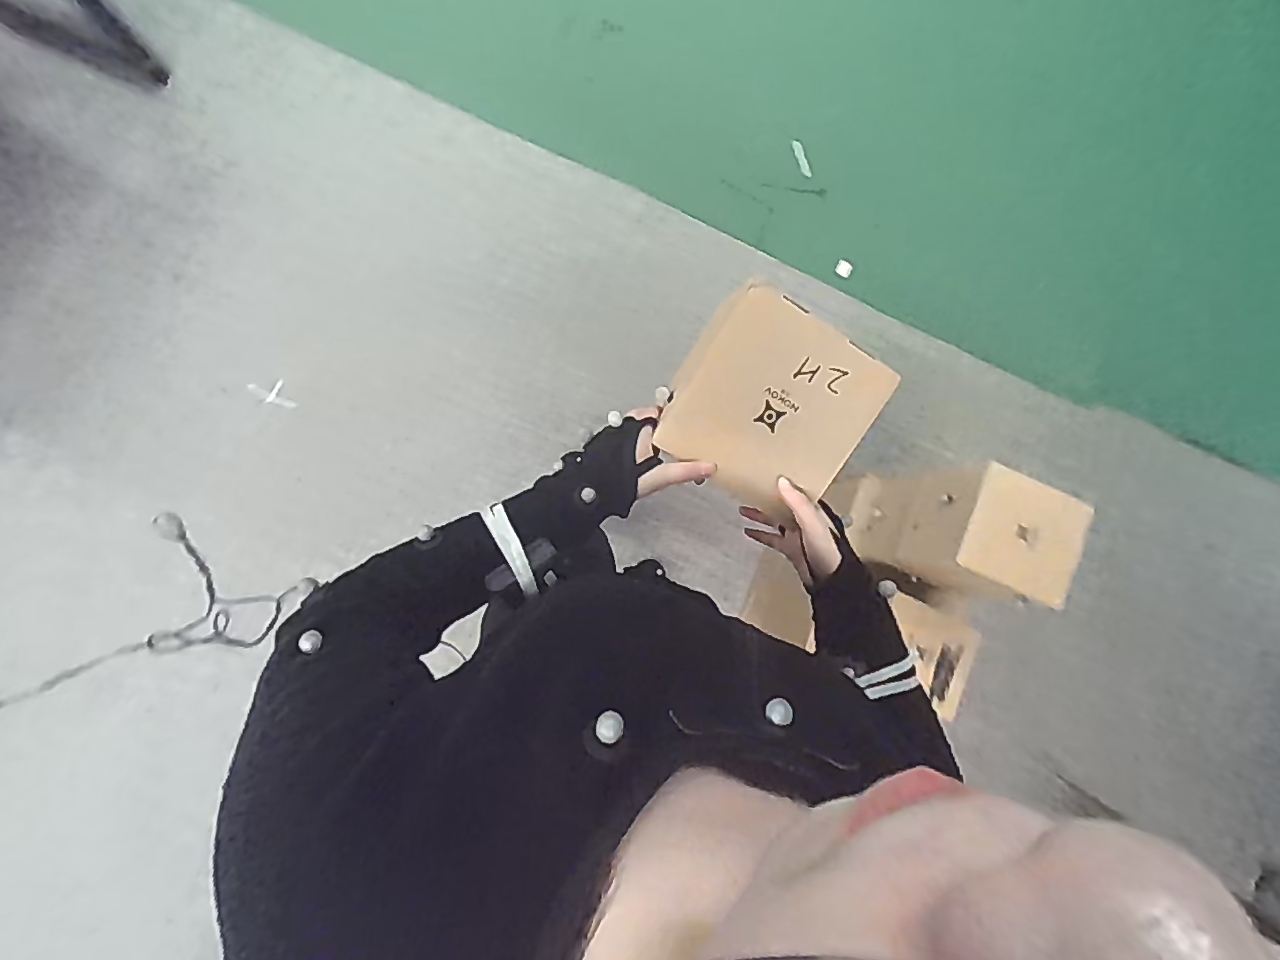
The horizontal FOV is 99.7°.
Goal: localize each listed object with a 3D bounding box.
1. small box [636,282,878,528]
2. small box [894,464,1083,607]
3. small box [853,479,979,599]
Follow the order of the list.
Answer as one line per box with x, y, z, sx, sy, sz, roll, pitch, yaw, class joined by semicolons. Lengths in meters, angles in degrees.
0.109;-0.079;0.584;0.168;0.176;0.179;31;97;-7;small box
0.557;0.091;0.888;0.179;0.176;0.168;25;84;-2;small box
0.553;0.110;1.050;0.179;0.176;0.168;25;84;-1;small box
